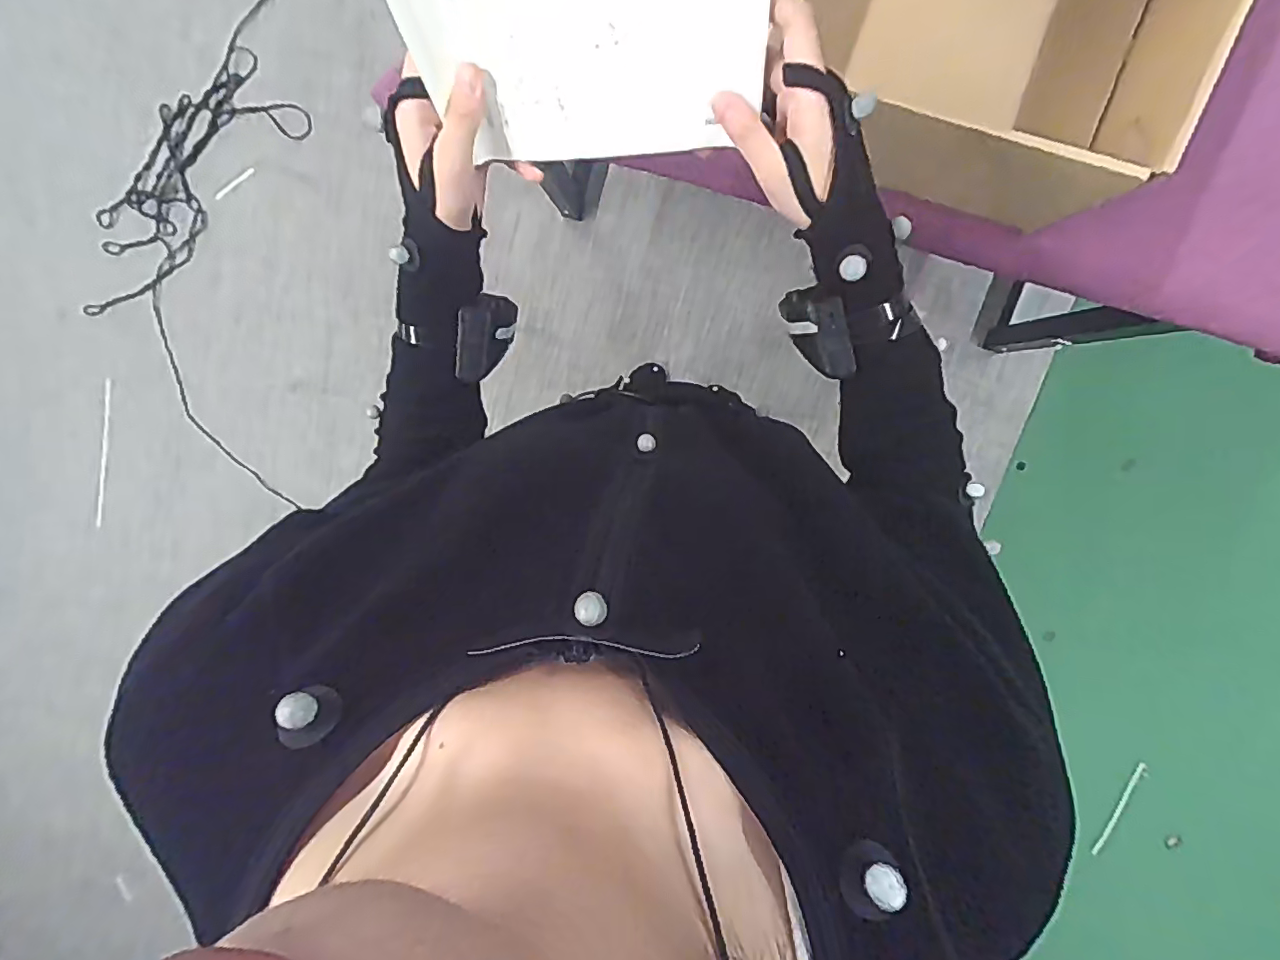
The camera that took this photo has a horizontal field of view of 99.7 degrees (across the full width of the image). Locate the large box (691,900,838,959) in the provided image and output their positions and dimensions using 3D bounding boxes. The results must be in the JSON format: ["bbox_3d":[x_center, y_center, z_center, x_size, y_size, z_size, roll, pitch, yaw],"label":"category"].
[{"bbox_3d":[0.353,1.483,1.550,0.408,0.320,0.320,2,100,3],"label":"large box"}]
